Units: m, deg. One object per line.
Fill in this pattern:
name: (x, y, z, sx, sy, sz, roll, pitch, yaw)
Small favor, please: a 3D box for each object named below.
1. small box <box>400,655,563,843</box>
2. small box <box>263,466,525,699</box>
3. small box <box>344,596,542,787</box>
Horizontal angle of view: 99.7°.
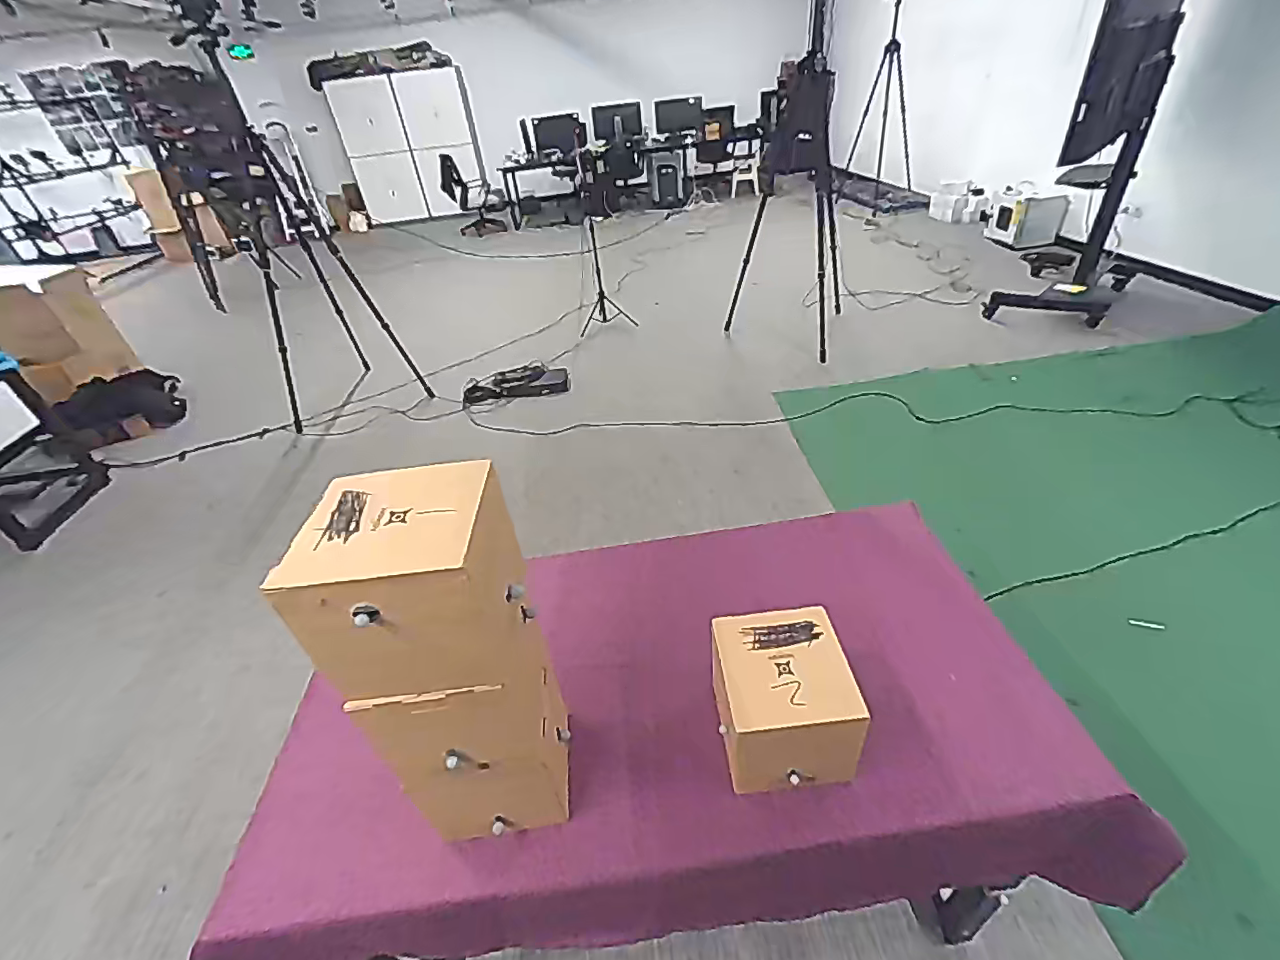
small box: (-0.203, 0.375, 0.756, 0.179, 0.176, 0.168, -9, 36, -3)
small box: (-0.231, 0.108, 0.565, 0.179, 0.176, 0.168, -6, 36, 0)
small box: (-0.220, 0.240, 0.662, 0.168, 0.176, 0.179, -8, 37, -1)
